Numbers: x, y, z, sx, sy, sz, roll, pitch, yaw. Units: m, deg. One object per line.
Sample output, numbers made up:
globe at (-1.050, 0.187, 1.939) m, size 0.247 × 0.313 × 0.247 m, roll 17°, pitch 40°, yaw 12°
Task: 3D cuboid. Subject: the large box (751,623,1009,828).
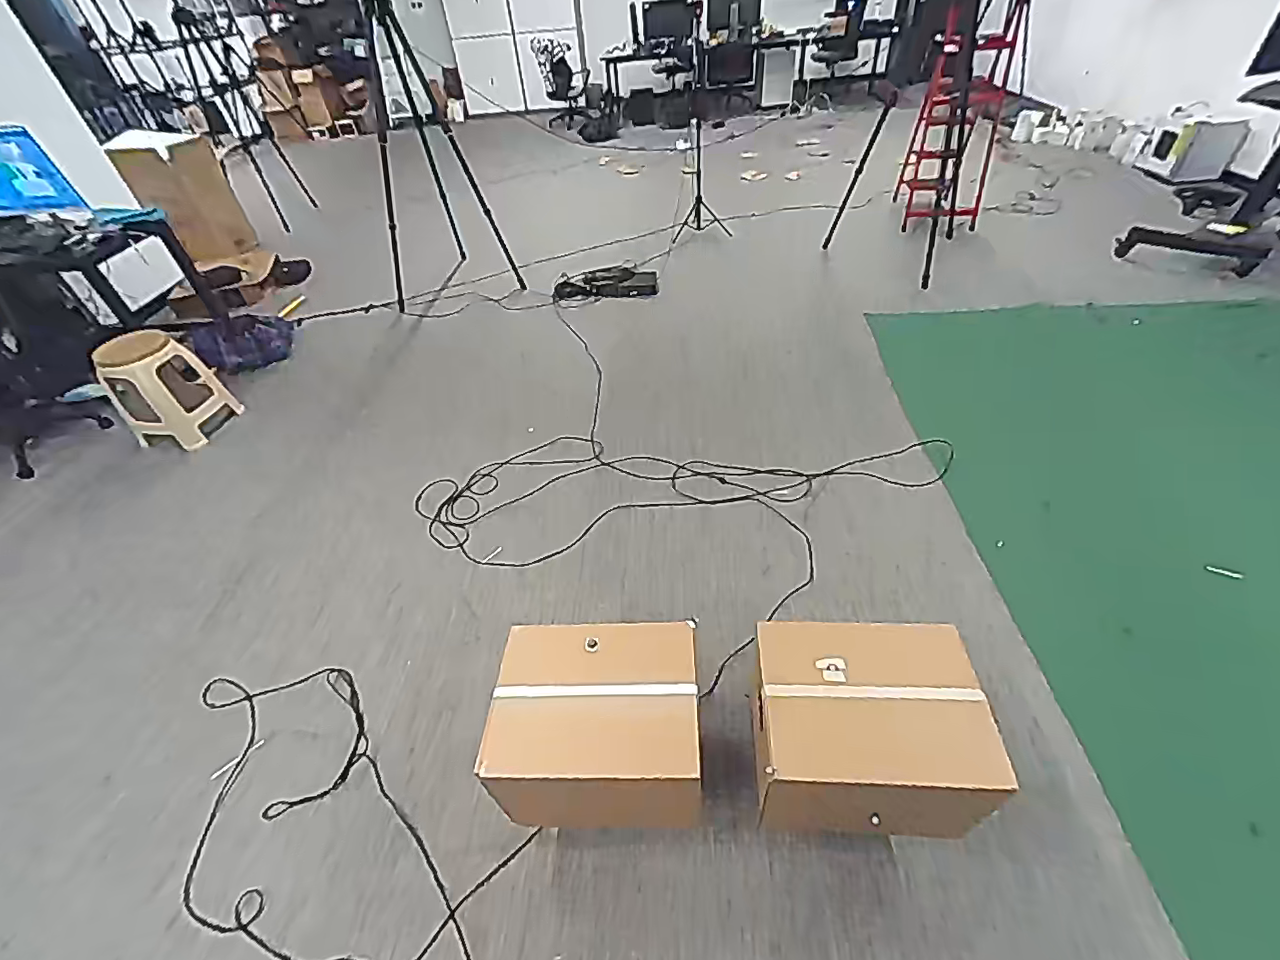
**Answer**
large box at (0.454, 0.518, 1.142) m, size 0.408 × 0.320 × 0.320 m, roll -1°, pitch 44°, yaw 7°
